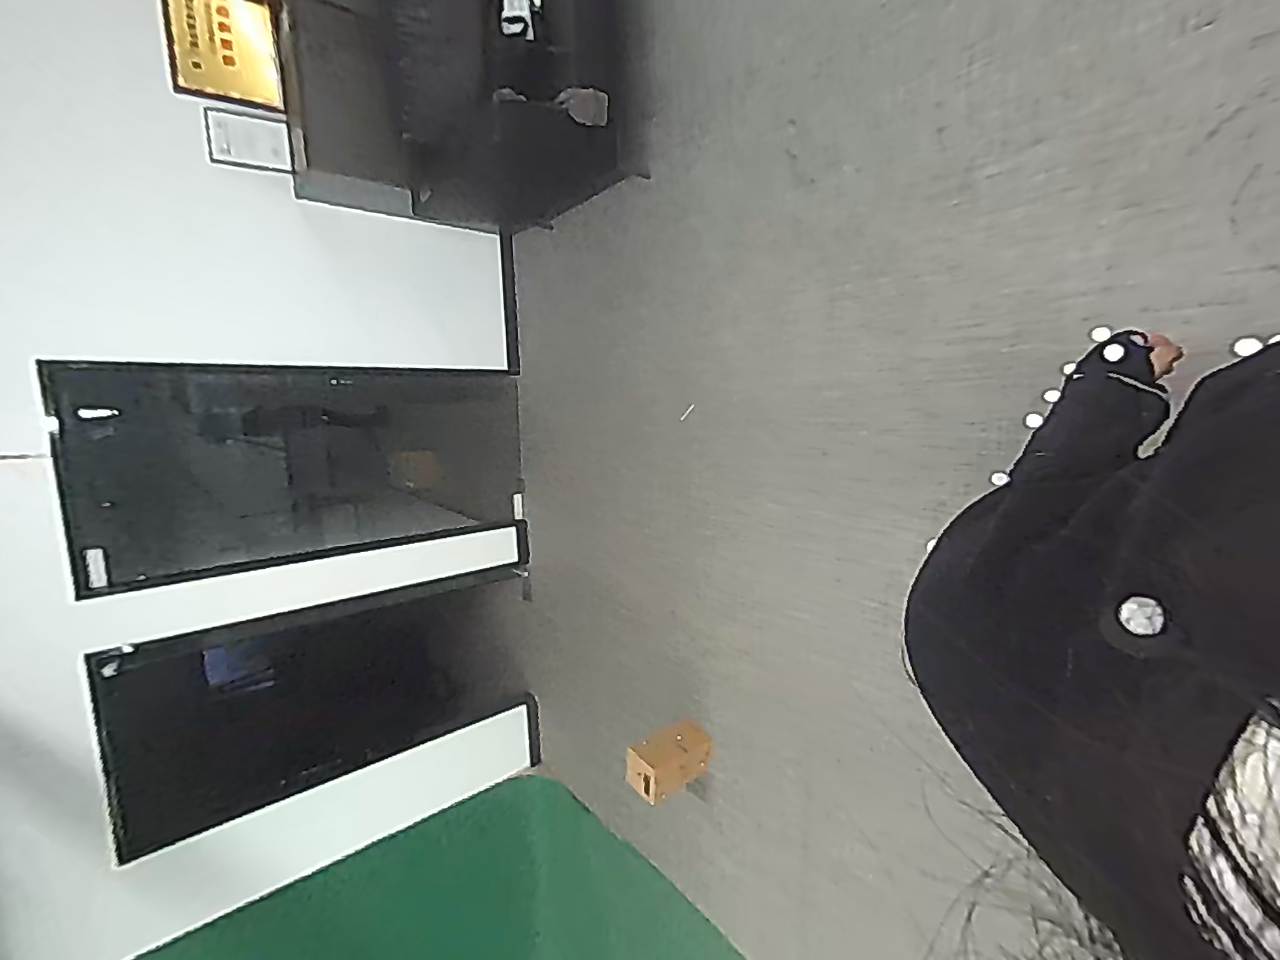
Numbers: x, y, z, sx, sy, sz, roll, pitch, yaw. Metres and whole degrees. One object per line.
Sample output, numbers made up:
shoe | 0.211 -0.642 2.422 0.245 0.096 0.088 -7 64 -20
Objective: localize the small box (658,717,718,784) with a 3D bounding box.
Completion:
small box | 0.205 1.147 2.314 0.179 0.176 0.168 24 115 46
